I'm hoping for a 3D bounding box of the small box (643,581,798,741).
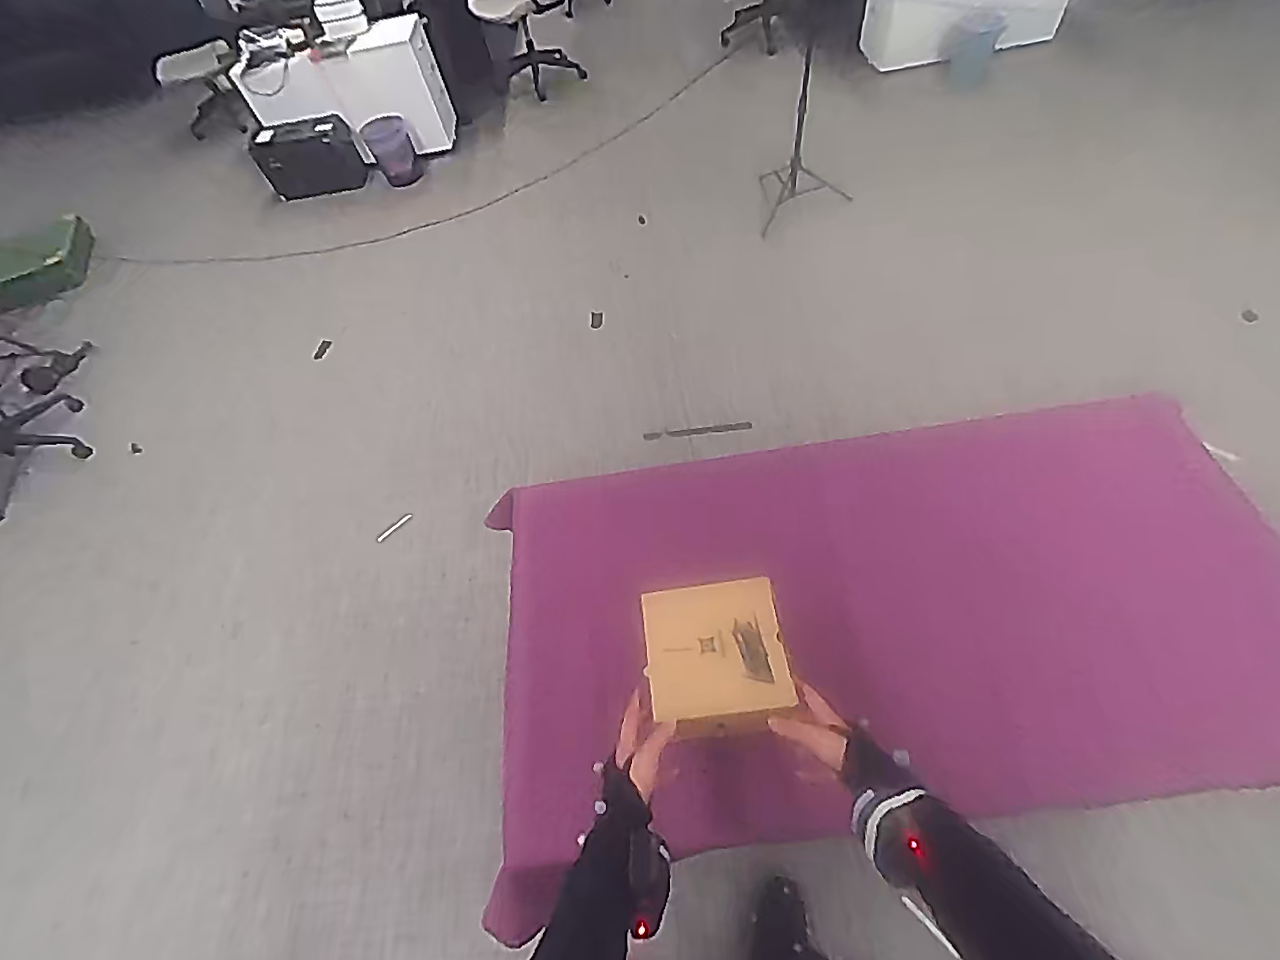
[{"bbox_3d":[0.105,0.257,0.751,0.179,0.176,0.168,-9,56,4],"label":"small box"}]
